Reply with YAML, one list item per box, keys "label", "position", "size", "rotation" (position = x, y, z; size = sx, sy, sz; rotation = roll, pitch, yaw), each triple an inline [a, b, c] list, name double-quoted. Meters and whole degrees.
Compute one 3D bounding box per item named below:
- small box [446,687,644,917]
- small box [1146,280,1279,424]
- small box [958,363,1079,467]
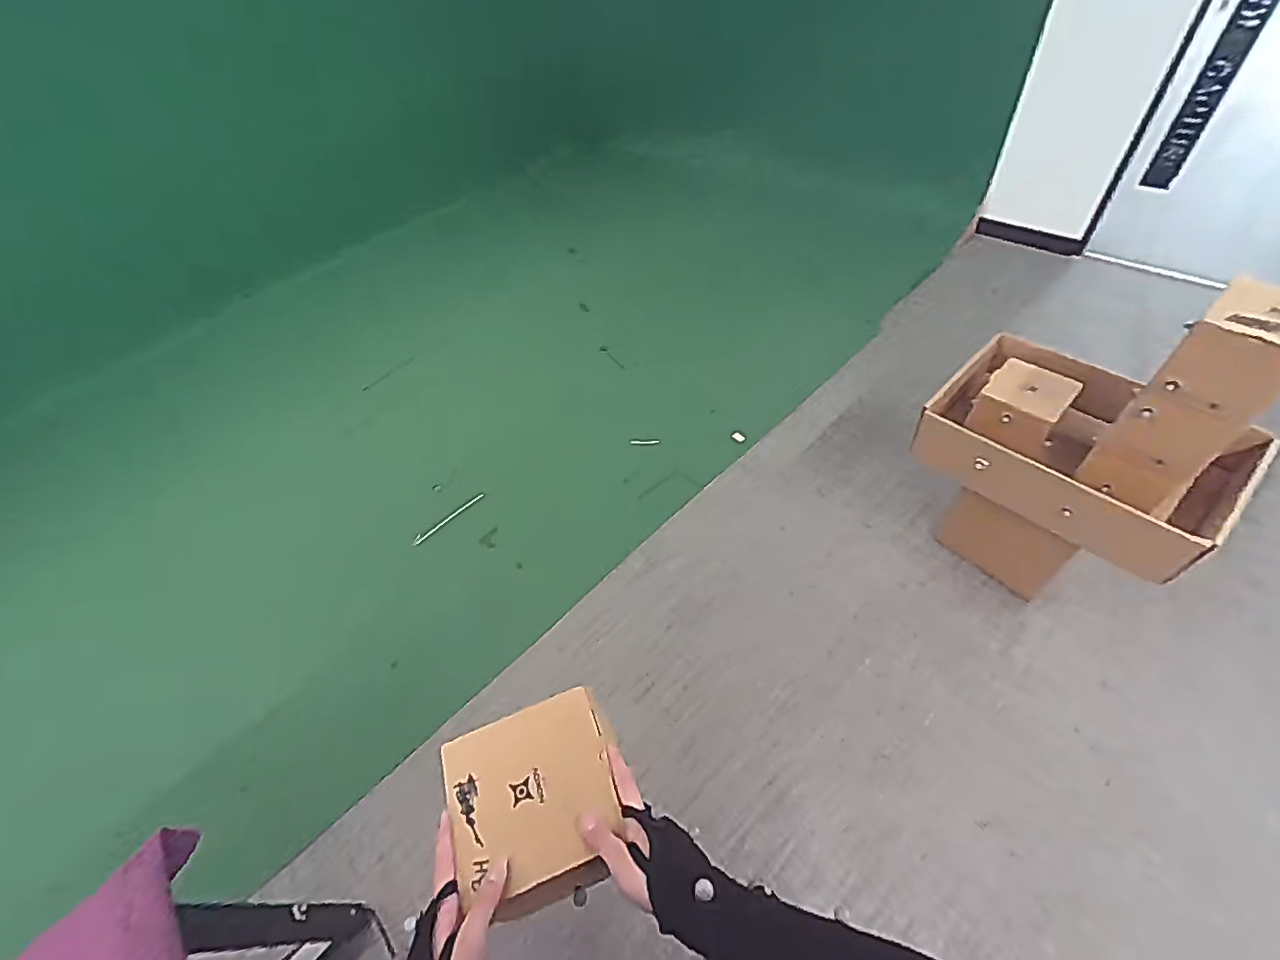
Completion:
- label: "small box"
  position: [-0.101, 0.372, 0.625]
  size: [0.179, 0.176, 0.168]
  rotation: [-20, 50, -8]
- label: "small box"
  position: [1.101, -0.234, 1.002]
  size: [0.179, 0.176, 0.168]
  rotation: [-39, 56, -21]
- label: "small box"
  position: [0.964, -0.166, 1.396]
  size: [0.168, 0.176, 0.179]
  rotation: [-40, 57, -20]
